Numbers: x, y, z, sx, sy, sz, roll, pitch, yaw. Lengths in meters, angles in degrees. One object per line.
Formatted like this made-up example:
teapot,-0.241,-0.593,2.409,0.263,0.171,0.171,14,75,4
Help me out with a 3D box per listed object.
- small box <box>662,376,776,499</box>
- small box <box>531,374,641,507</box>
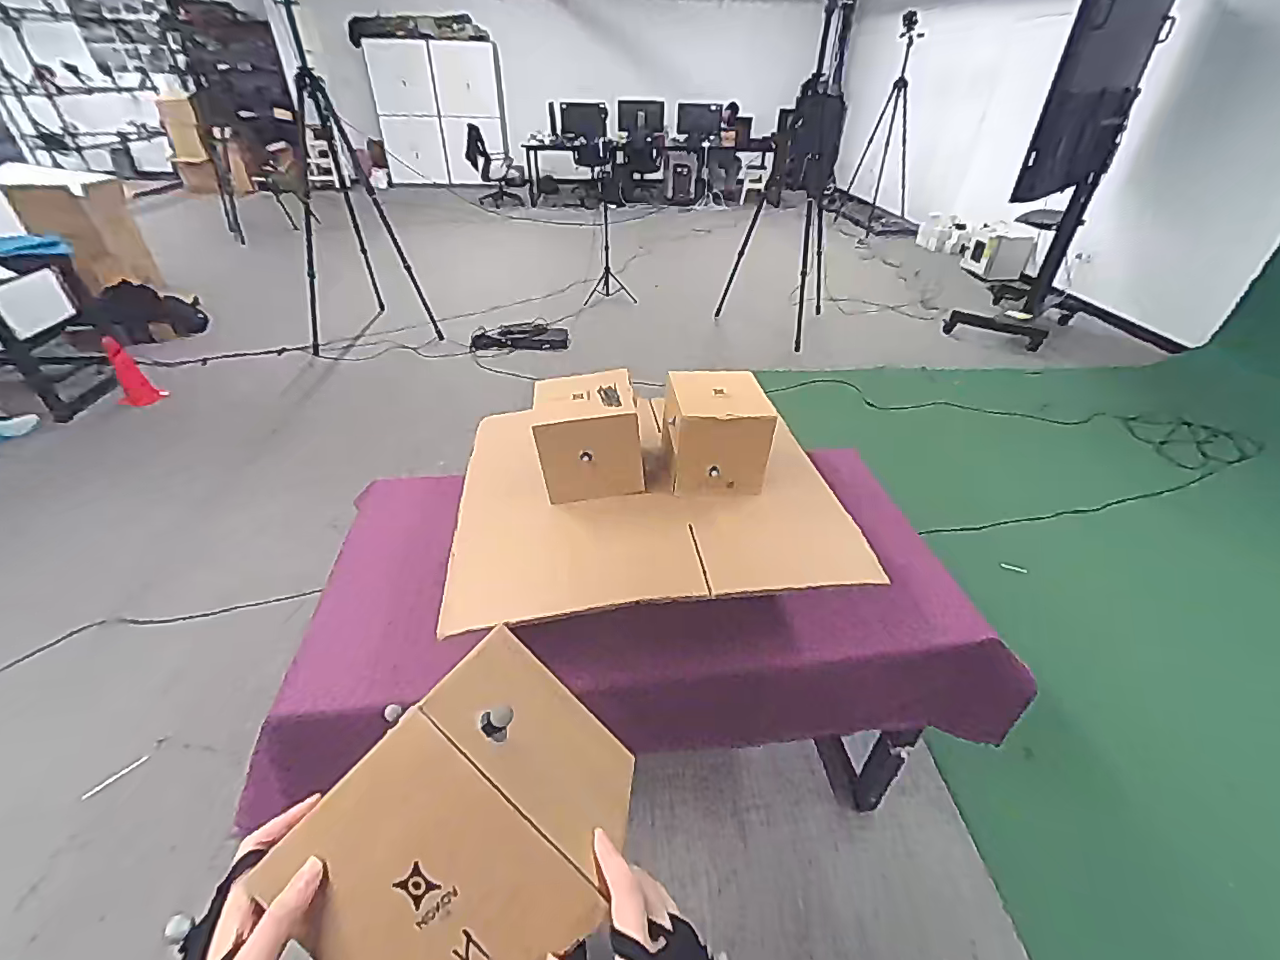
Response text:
small box,0.135,-0.081,1.013,0.168,0.176,0.179,-1,38,-6
small box,-0.093,-0.071,0.991,0.179,0.176,0.168,-9,37,-1
